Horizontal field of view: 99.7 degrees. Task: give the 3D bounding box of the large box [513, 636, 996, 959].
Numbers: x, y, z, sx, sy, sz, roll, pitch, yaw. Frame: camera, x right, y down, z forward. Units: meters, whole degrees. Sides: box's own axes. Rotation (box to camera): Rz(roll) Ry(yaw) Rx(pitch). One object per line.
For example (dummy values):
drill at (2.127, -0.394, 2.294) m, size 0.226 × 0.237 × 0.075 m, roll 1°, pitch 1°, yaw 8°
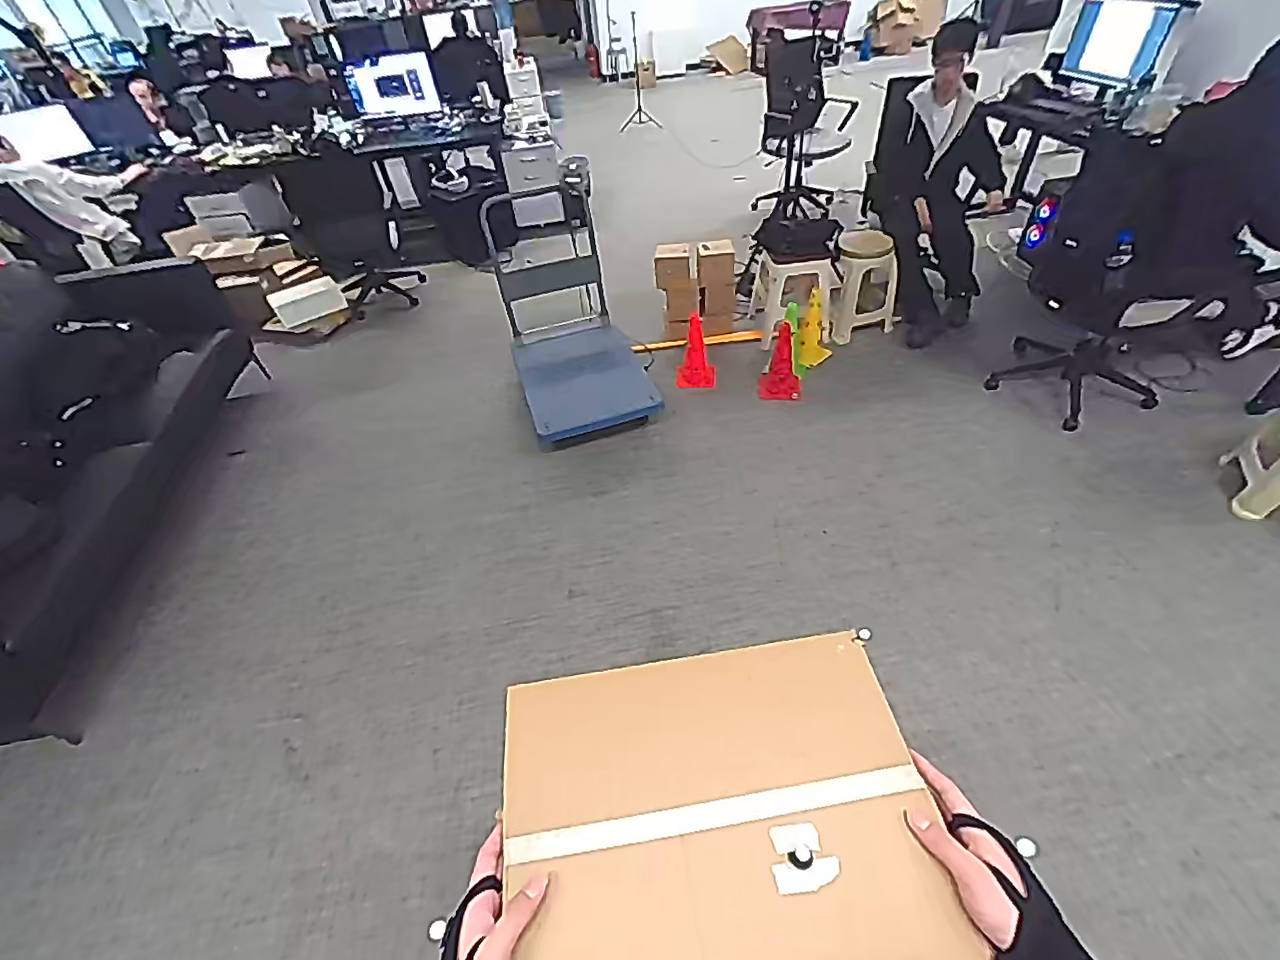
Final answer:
large box at (0.082, 0.425, 0.633) m, size 0.408 × 0.320 × 0.320 m, roll -8°, pitch 48°, yaw -3°
